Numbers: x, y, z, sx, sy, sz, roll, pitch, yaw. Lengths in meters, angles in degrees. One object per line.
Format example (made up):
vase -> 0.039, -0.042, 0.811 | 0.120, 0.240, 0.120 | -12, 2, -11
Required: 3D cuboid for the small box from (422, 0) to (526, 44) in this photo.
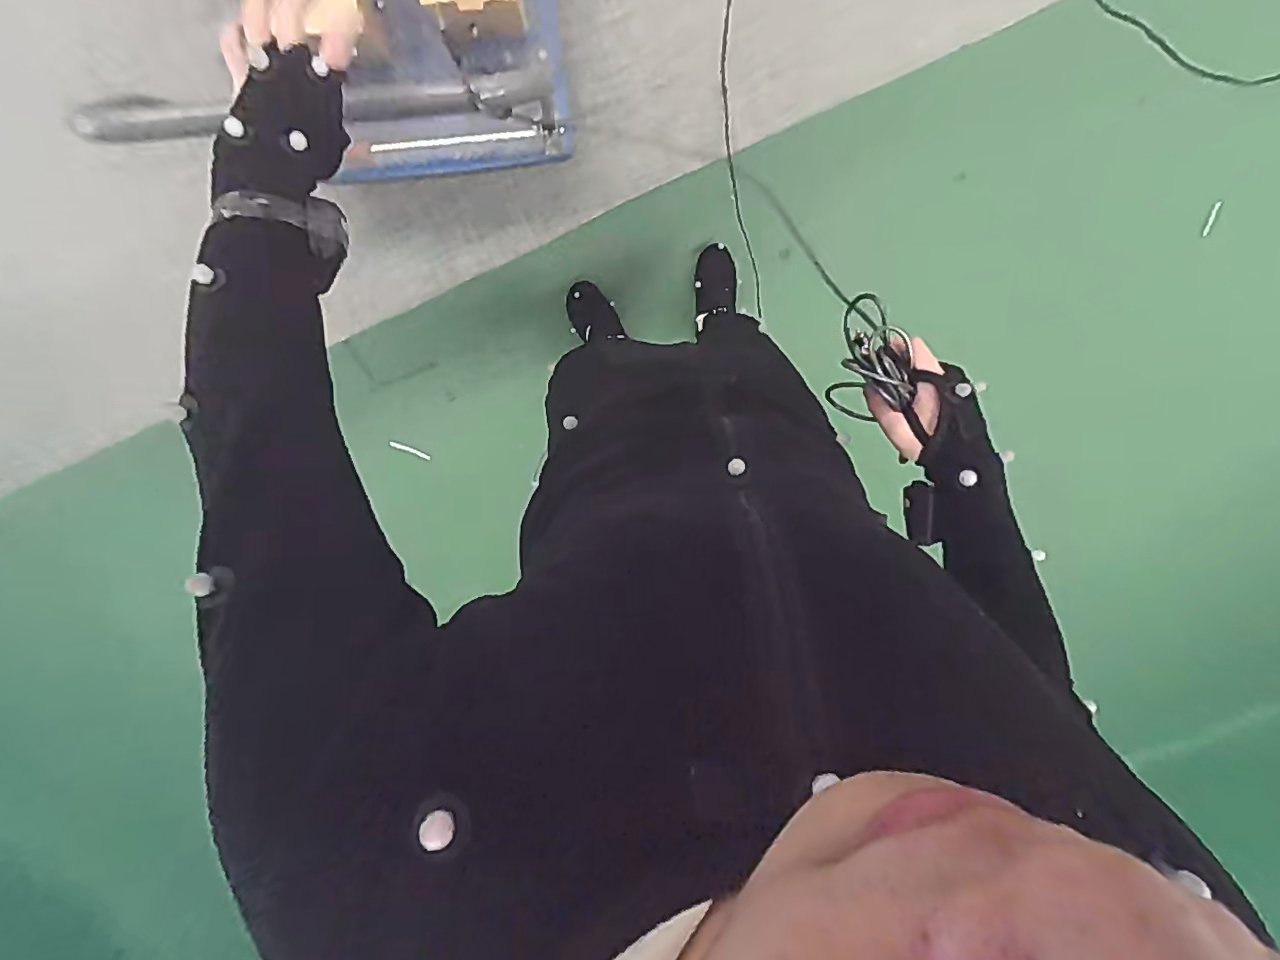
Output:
small box -> -0.301, -0.911, 0.958 | 0.168, 0.176, 0.179 | -6, 115, -3
